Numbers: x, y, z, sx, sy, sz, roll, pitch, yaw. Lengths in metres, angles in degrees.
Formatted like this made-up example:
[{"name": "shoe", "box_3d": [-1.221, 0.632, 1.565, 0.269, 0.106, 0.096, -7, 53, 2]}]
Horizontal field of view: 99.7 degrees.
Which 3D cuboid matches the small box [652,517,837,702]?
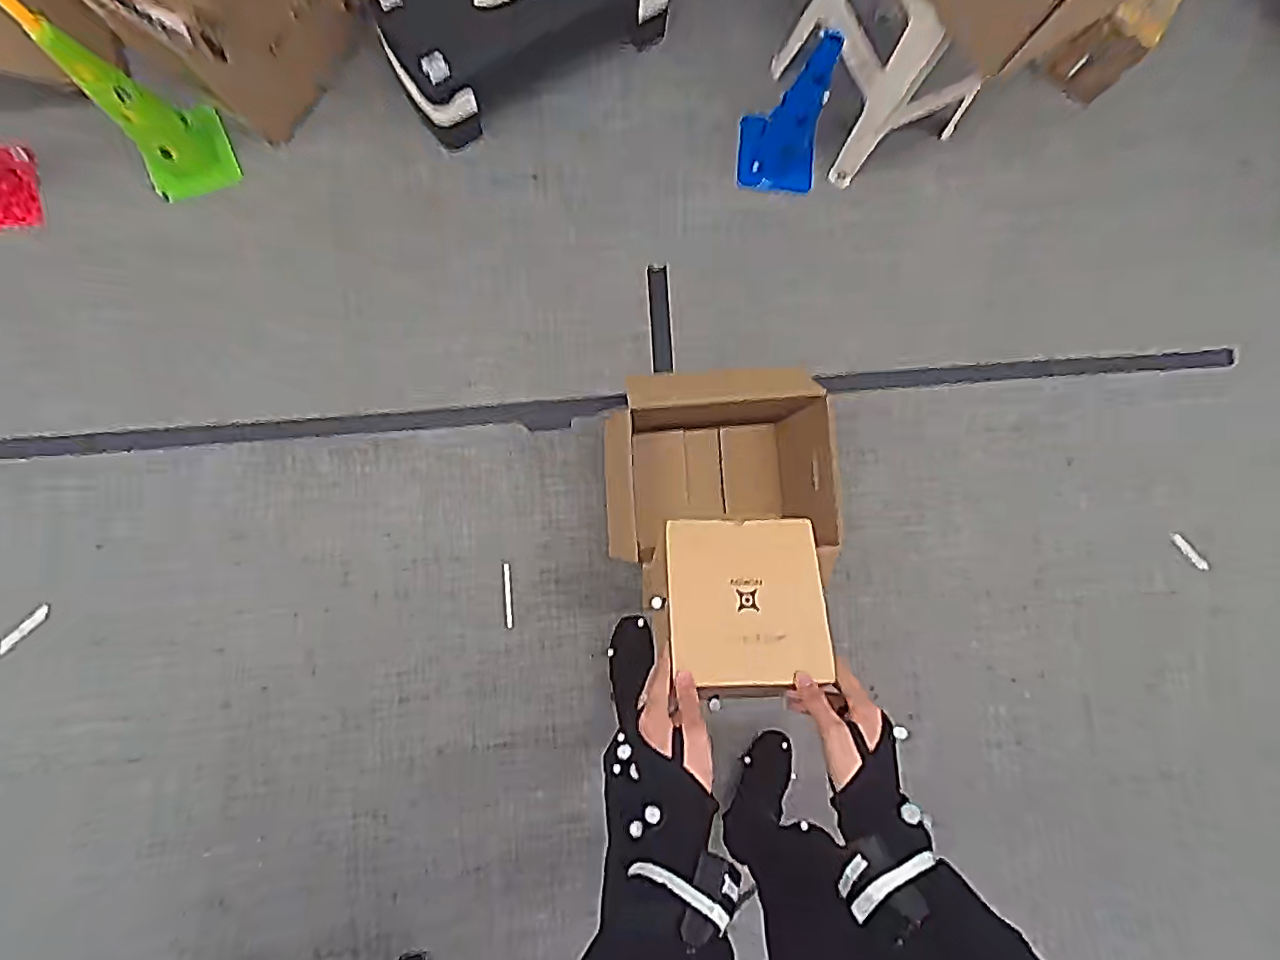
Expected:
[{"name": "small box", "box_3d": [0.104, 0.156, 0.630, 0.168, 0.176, 0.179, 0, 63, -4]}]
